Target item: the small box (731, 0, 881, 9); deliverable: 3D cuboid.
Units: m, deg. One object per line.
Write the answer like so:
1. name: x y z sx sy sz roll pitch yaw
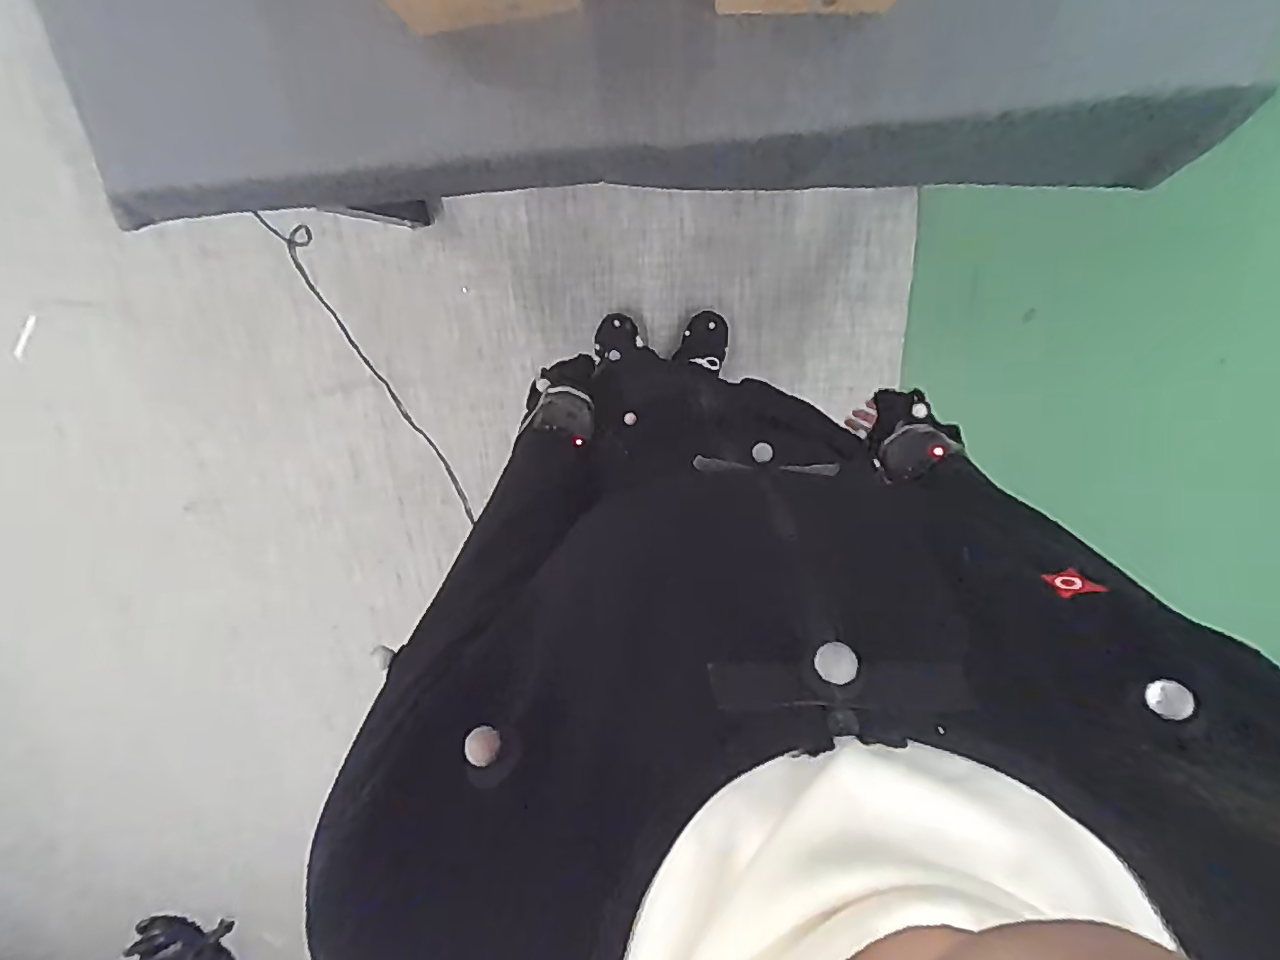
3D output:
1. small box: 0.150 -0.505 0.422 0.168 0.176 0.179 0 111 3
